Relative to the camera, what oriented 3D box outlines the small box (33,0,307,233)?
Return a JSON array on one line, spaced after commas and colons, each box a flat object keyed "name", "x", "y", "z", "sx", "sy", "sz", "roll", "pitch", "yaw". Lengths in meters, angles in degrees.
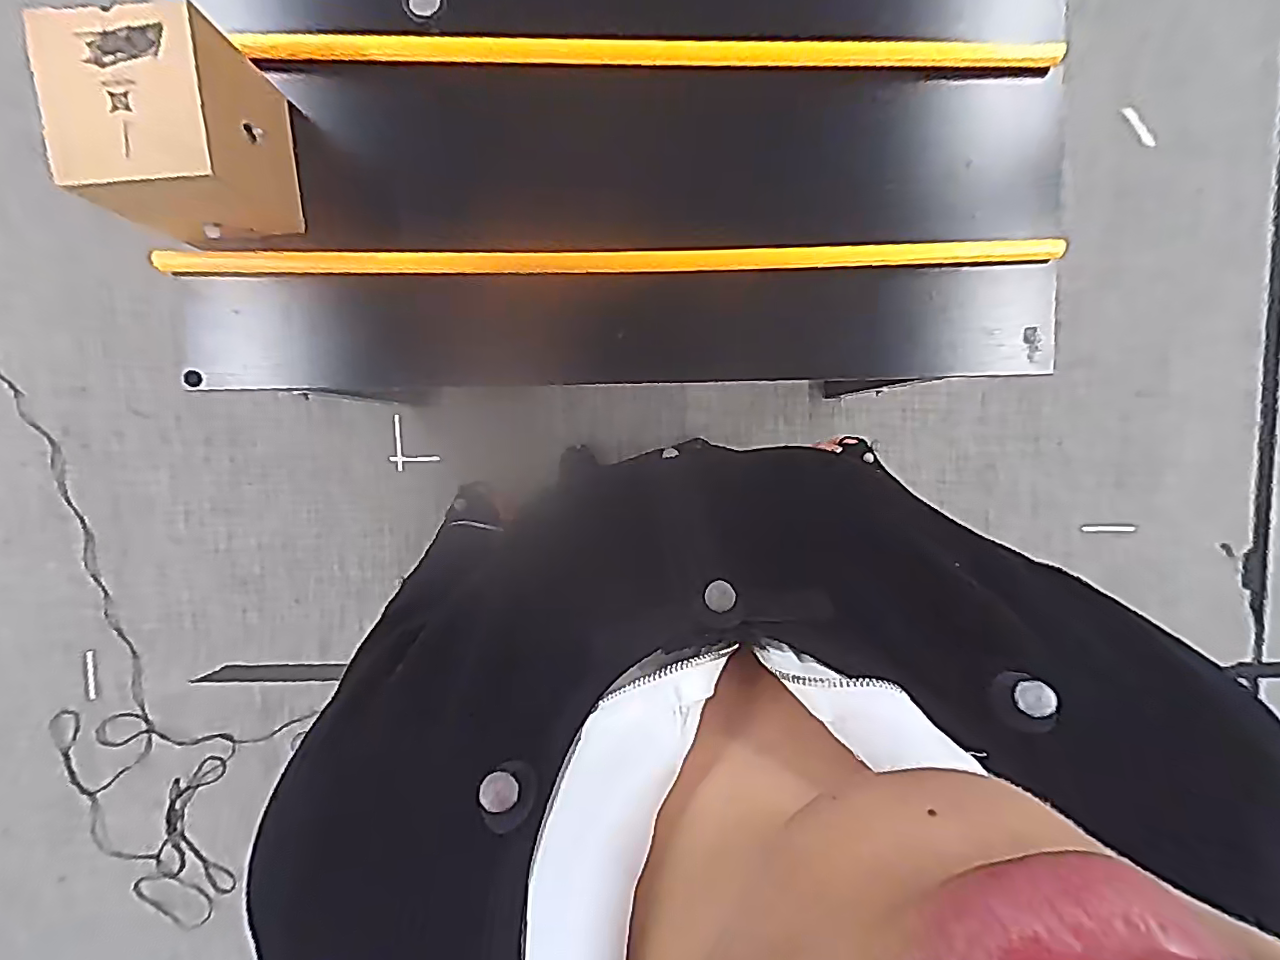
[{"name": "small box", "x": -0.528, "y": -0.413, "z": 0.634, "sx": 0.168, "sy": 0.176, "sz": 0.179, "roll": -5, "pitch": 96, "yaw": -1}]
